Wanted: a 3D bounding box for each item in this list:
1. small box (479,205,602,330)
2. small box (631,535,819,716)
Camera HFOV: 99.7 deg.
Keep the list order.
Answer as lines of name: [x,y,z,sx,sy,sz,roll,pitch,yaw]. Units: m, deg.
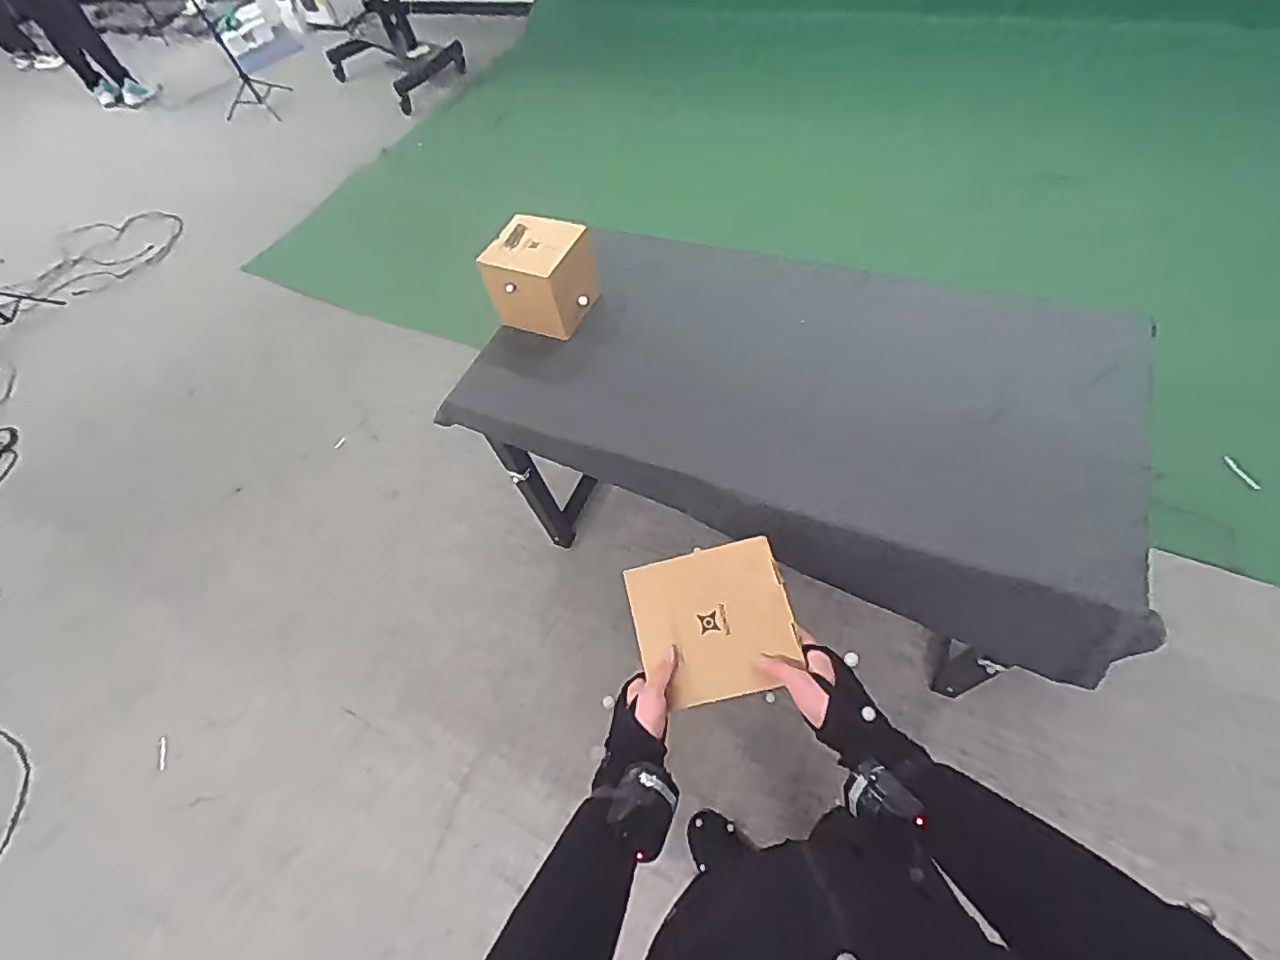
small box: [-0.199,-0.442,1.138,0.179,0.176,0.168,20,64,17]
small box: [0.100,0.184,0.674,0.179,0.176,0.168,-16,67,4]
